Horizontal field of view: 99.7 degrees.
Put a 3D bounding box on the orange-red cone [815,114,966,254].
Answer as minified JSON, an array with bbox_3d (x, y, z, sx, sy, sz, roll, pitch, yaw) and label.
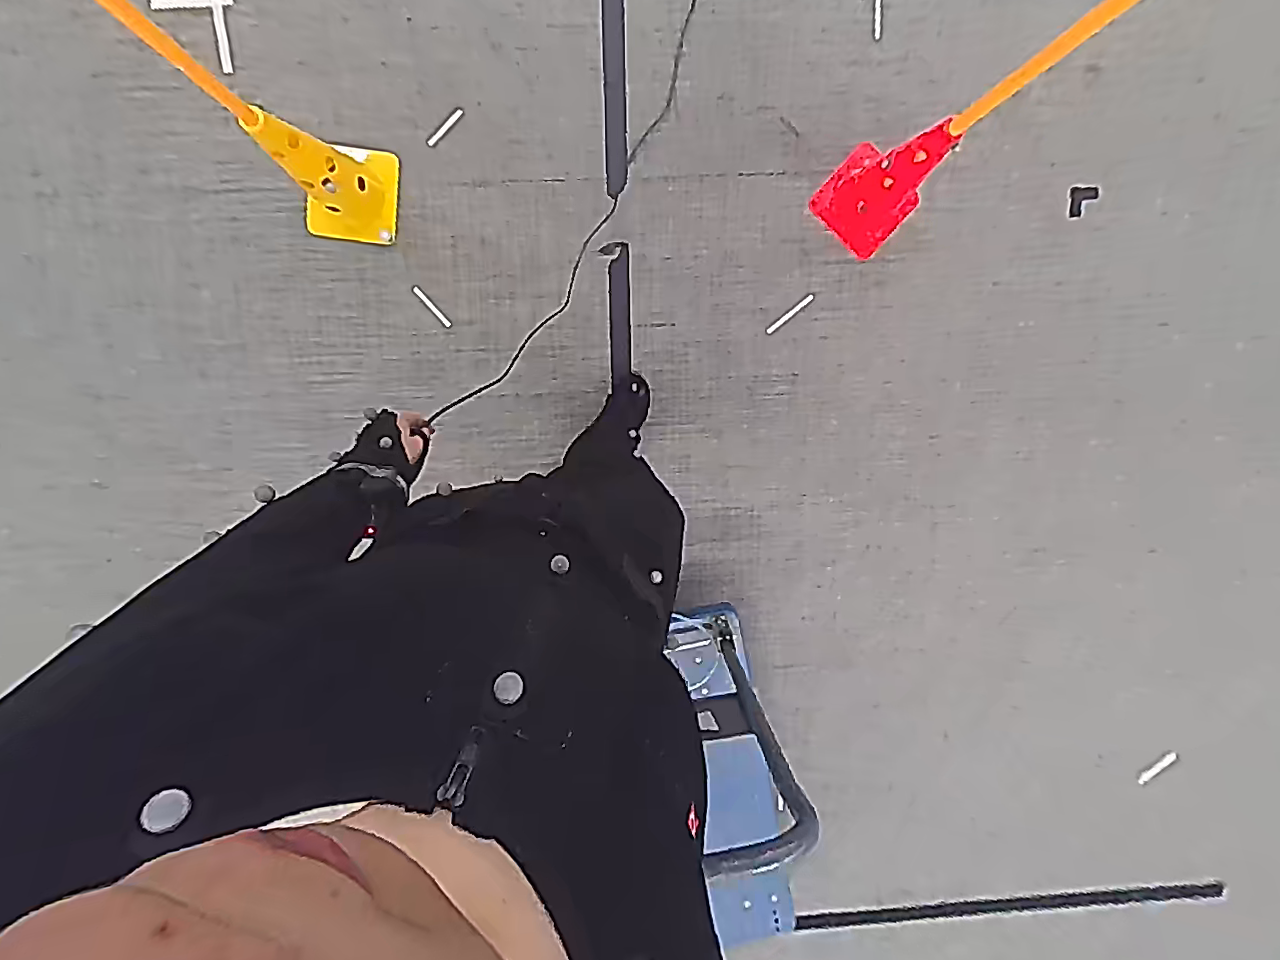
[{"bbox_3d":[0.540,-0.635,1.101,0.198,0.360,0.199,43,96,-6],"label":"orange-red cone"}]
